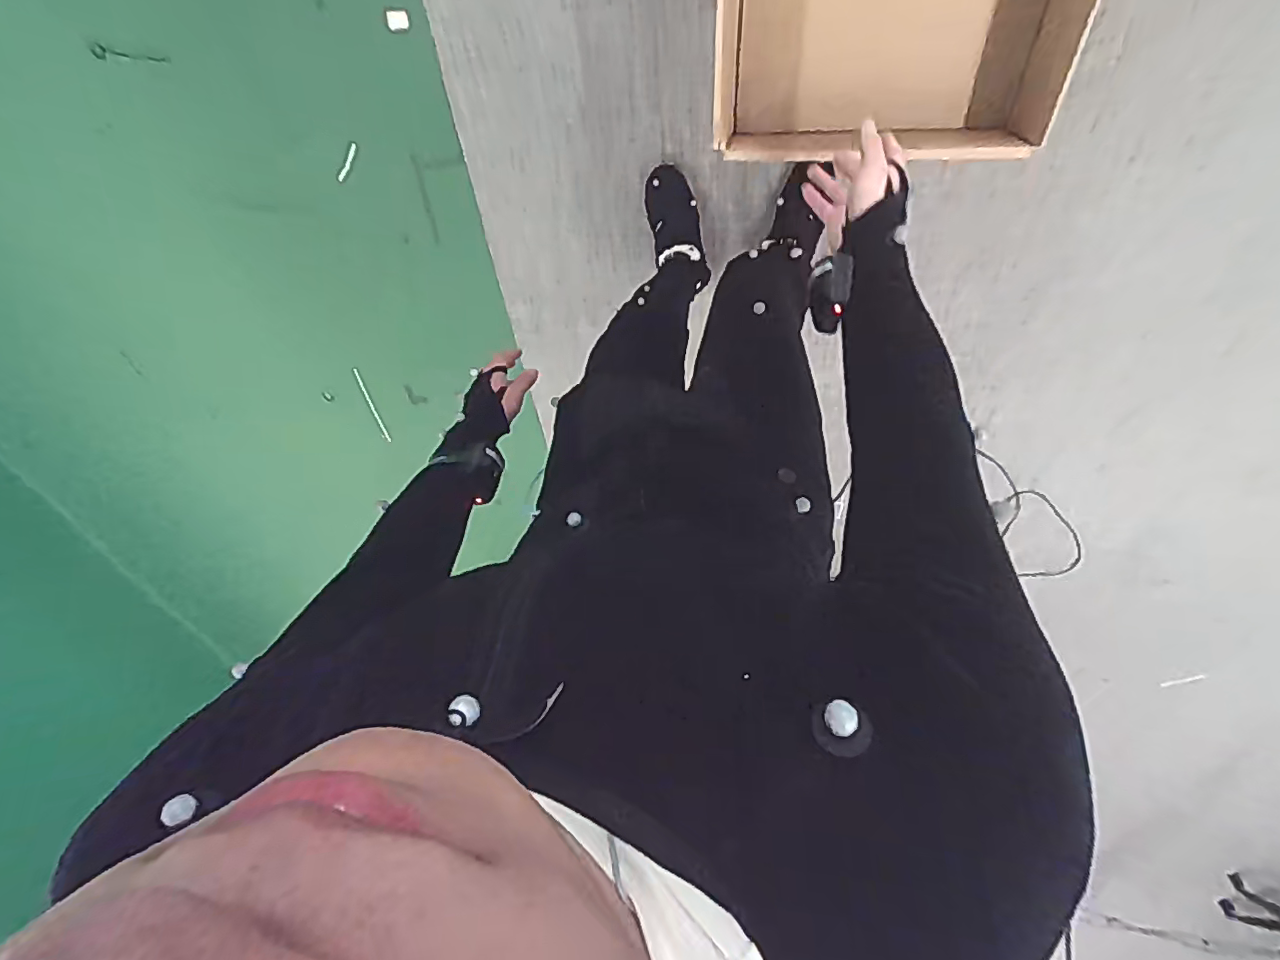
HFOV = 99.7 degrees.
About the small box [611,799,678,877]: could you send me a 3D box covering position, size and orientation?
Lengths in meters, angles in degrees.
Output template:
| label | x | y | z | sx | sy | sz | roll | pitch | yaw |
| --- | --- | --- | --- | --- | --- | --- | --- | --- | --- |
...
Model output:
| label | x | y | z | sx | sy | sz | roll | pitch | yaw |
| --- | --- | --- | --- | --- | --- | --- | --- | --- | --- |
| small box | 0.019 | 1.216 | 1.846 | 0.179 | 0.176 | 0.168 | -1 | 129 | 17 |
